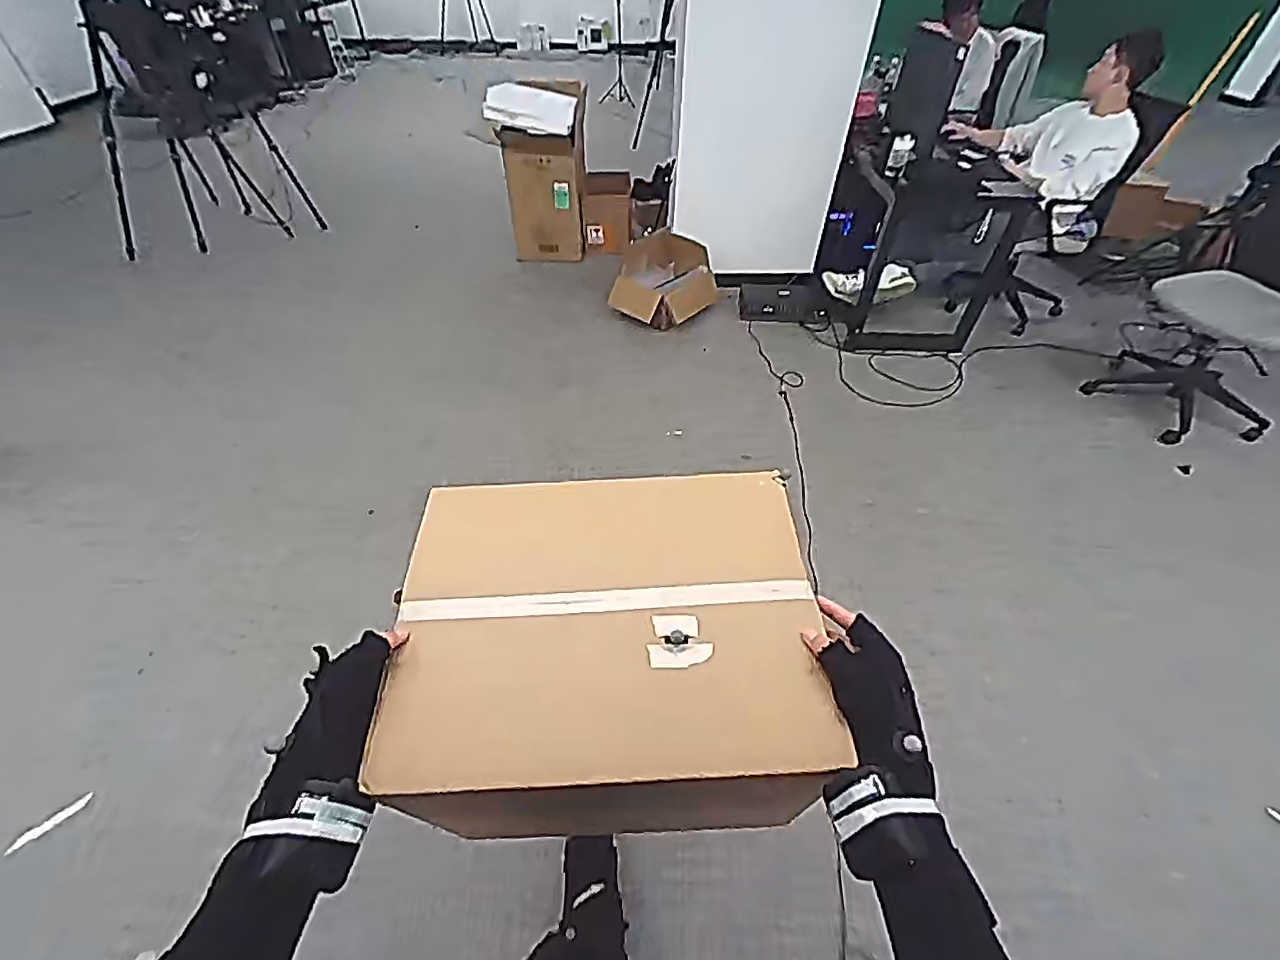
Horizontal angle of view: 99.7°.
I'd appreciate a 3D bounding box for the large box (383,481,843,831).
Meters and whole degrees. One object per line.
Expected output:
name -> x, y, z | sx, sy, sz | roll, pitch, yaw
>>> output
large box -> -0.027, 0.222, 0.667 | 0.408, 0.320, 0.320 | -2, 51, -1
